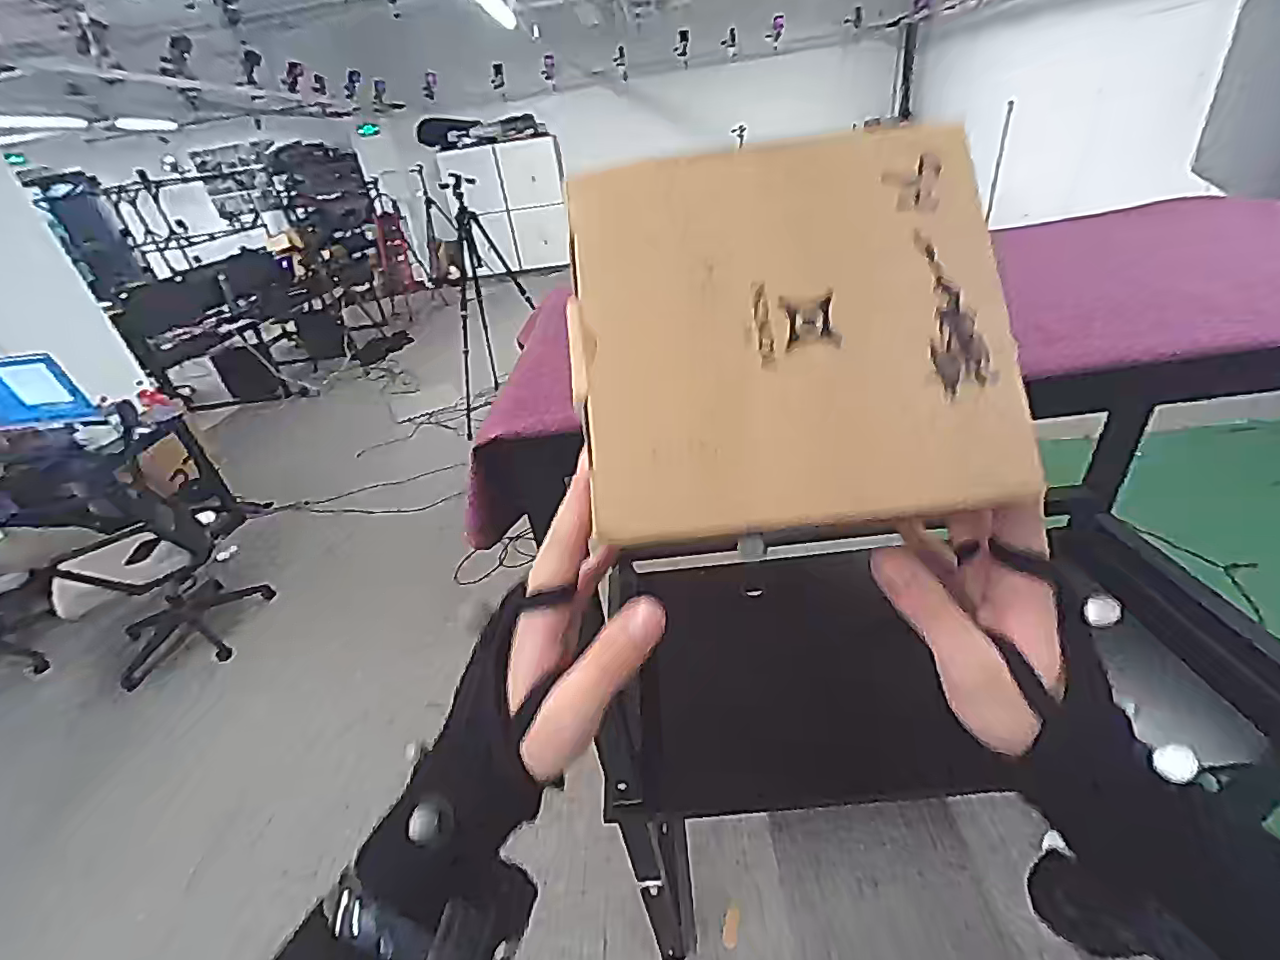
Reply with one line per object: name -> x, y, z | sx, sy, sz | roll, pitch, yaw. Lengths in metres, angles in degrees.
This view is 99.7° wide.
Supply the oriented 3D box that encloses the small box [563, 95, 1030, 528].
small box -> 0.064, -0.065, 0.305 | 0.179, 0.168, 0.176 | -6, -9, 3
